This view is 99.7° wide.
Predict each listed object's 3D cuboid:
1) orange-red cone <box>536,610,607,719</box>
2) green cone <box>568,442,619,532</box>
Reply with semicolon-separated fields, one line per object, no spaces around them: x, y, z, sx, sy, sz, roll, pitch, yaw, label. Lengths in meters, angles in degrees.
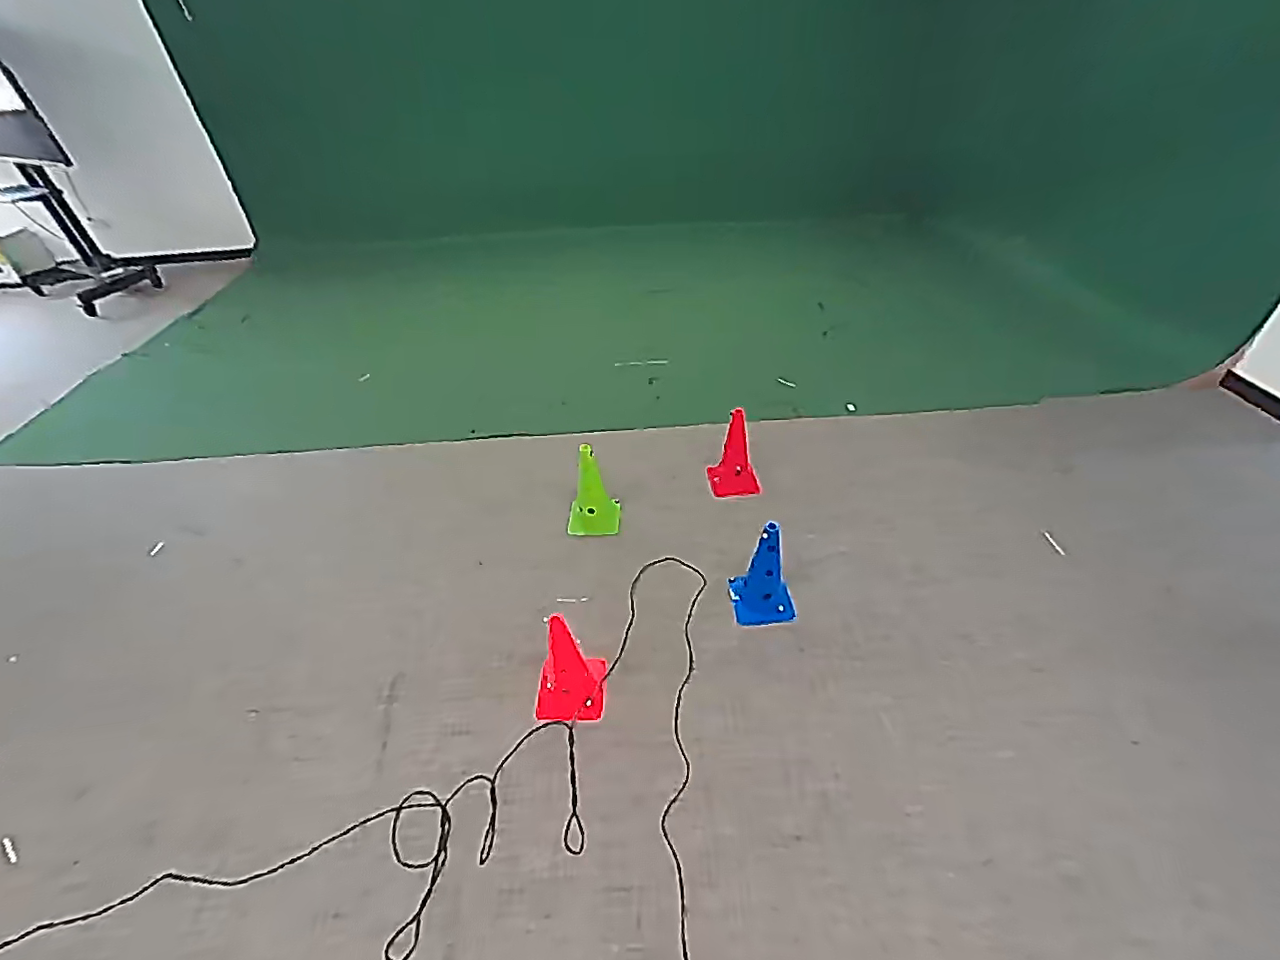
-0.208;0.487;1.518;0.198;0.360;0.199;0;39;3;orange-red cone
-0.195;0.006;2.070;0.200;0.368;0.202;-2;42;2;green cone
